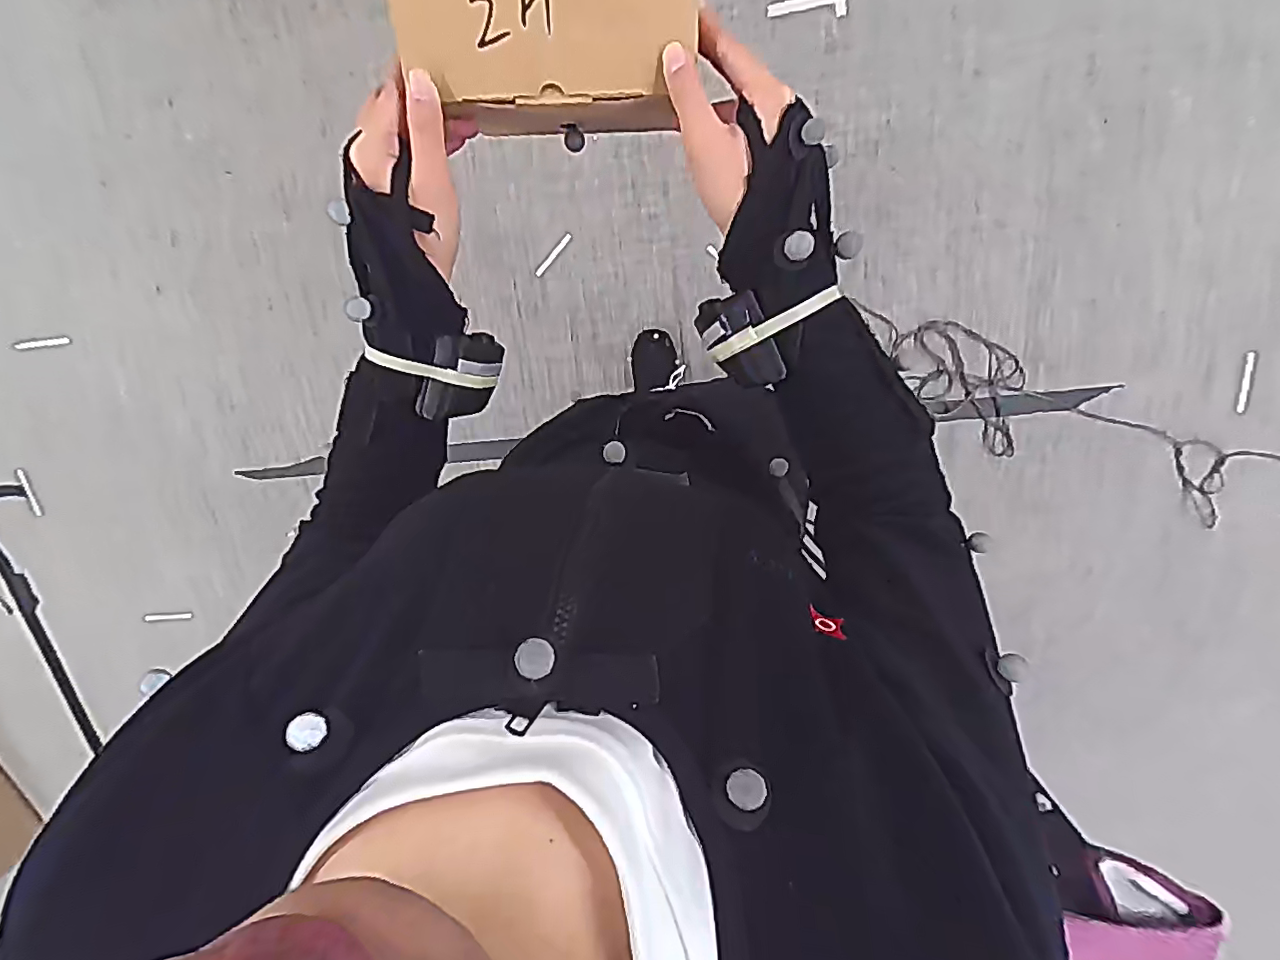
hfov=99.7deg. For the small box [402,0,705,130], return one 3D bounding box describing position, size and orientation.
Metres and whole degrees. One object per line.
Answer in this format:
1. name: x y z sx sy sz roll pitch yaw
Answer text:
1. small box: -0.048 -0.335 0.340 0.168 0.176 0.179 -1 118 1
